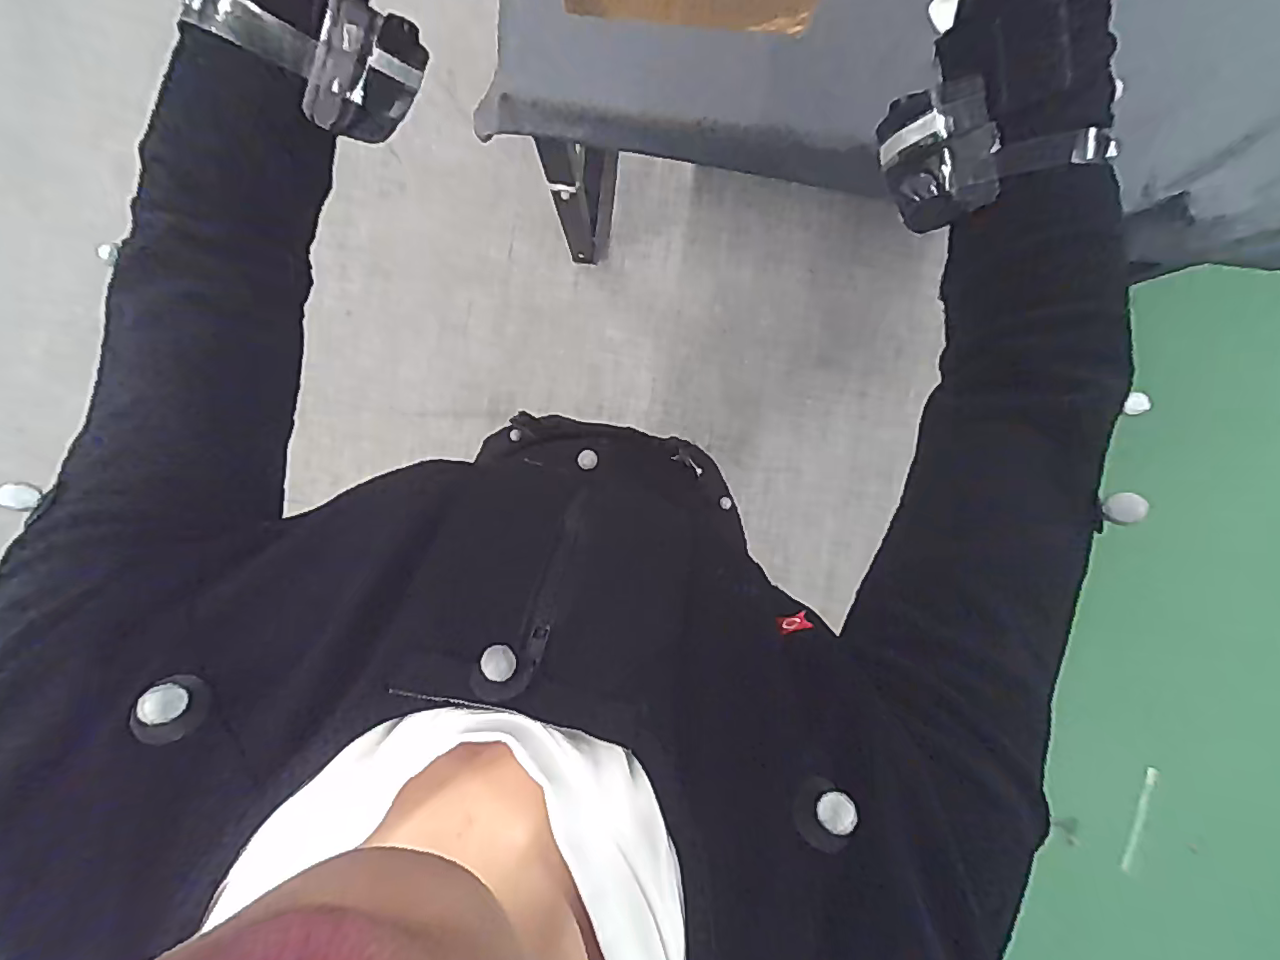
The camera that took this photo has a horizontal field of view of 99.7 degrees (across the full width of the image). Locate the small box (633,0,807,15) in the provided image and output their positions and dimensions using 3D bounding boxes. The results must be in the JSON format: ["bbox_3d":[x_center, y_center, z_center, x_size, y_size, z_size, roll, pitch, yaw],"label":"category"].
[{"bbox_3d":[0.044,-0.406,0.297,0.179,0.176,0.168,4,96,-2],"label":"small box"}]
